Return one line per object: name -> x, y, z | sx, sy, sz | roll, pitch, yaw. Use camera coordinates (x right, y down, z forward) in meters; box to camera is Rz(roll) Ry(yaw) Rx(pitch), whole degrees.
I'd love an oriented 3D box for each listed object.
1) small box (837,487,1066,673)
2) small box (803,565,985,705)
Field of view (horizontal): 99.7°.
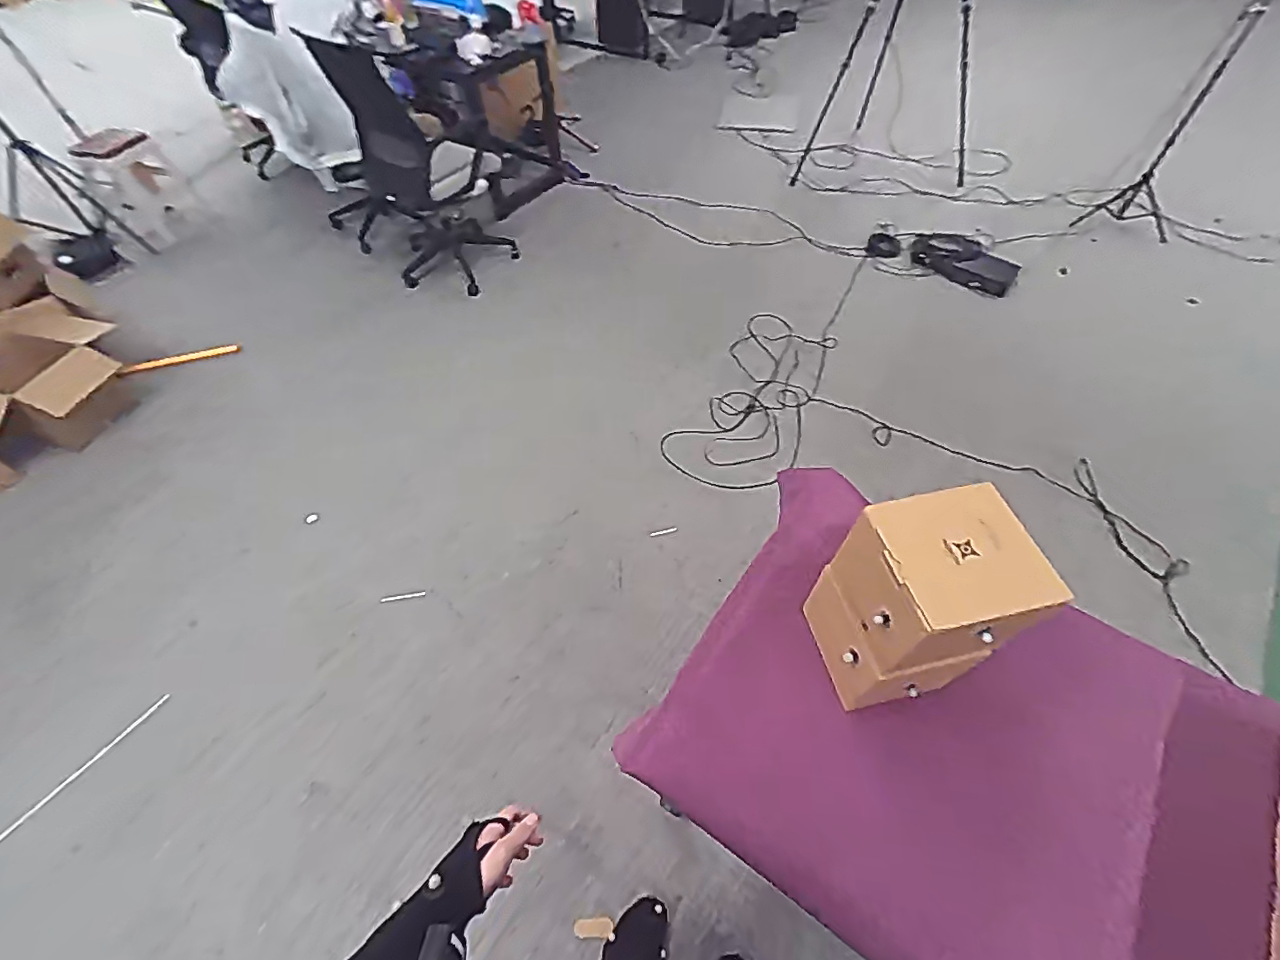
small box -> 0.376, 0.135, 0.700 | 0.179, 0.176, 0.168 | -10, 55, -6
small box -> 0.372, 0.232, 0.830 | 0.168, 0.176, 0.179 | -10, 54, -7
